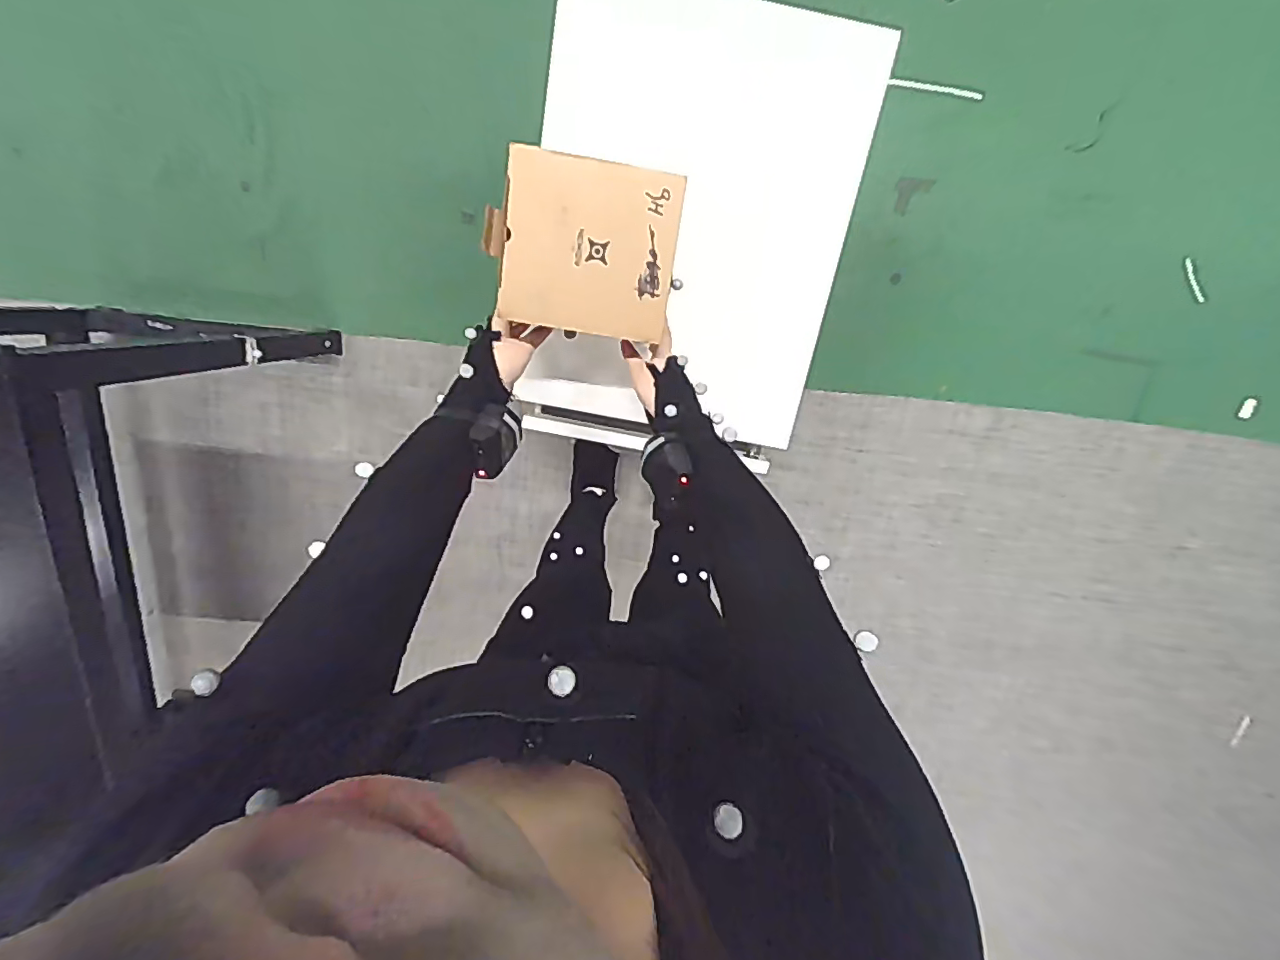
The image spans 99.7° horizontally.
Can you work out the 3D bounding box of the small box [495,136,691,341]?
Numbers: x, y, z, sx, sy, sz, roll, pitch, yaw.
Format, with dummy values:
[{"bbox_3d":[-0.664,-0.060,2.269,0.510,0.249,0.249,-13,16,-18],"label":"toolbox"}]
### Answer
[{"bbox_3d":[-0.049,-0.257,0.609,0.179,0.176,0.168,9,108,-3],"label":"small box"}]
